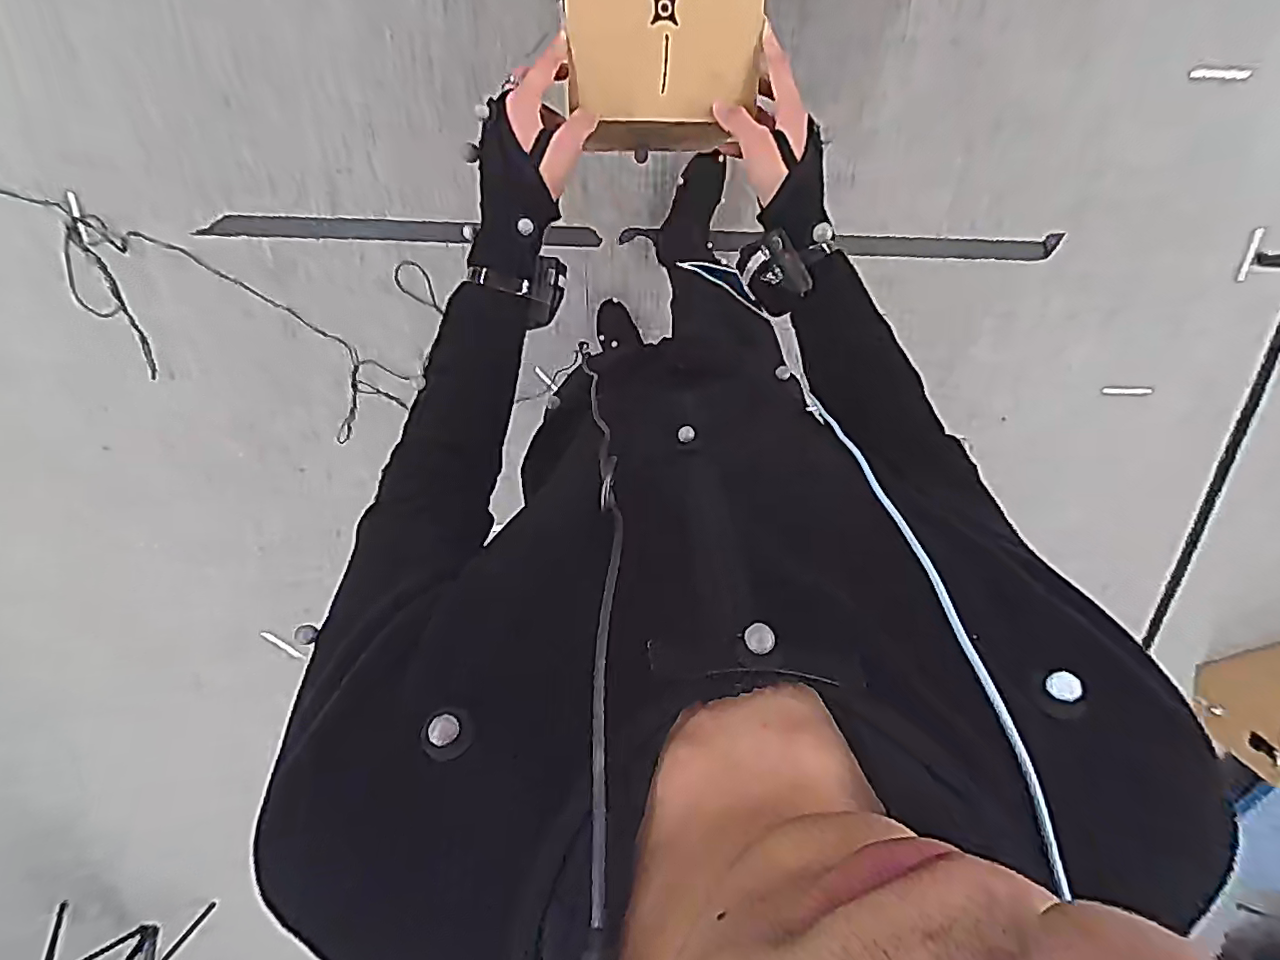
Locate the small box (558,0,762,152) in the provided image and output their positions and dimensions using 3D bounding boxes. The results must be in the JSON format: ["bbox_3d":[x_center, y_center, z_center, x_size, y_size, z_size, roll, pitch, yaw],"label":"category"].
[{"bbox_3d":[0.008,-0.425,0.508,0.168,0.176,0.179,-3,114,-7],"label":"small box"}]
